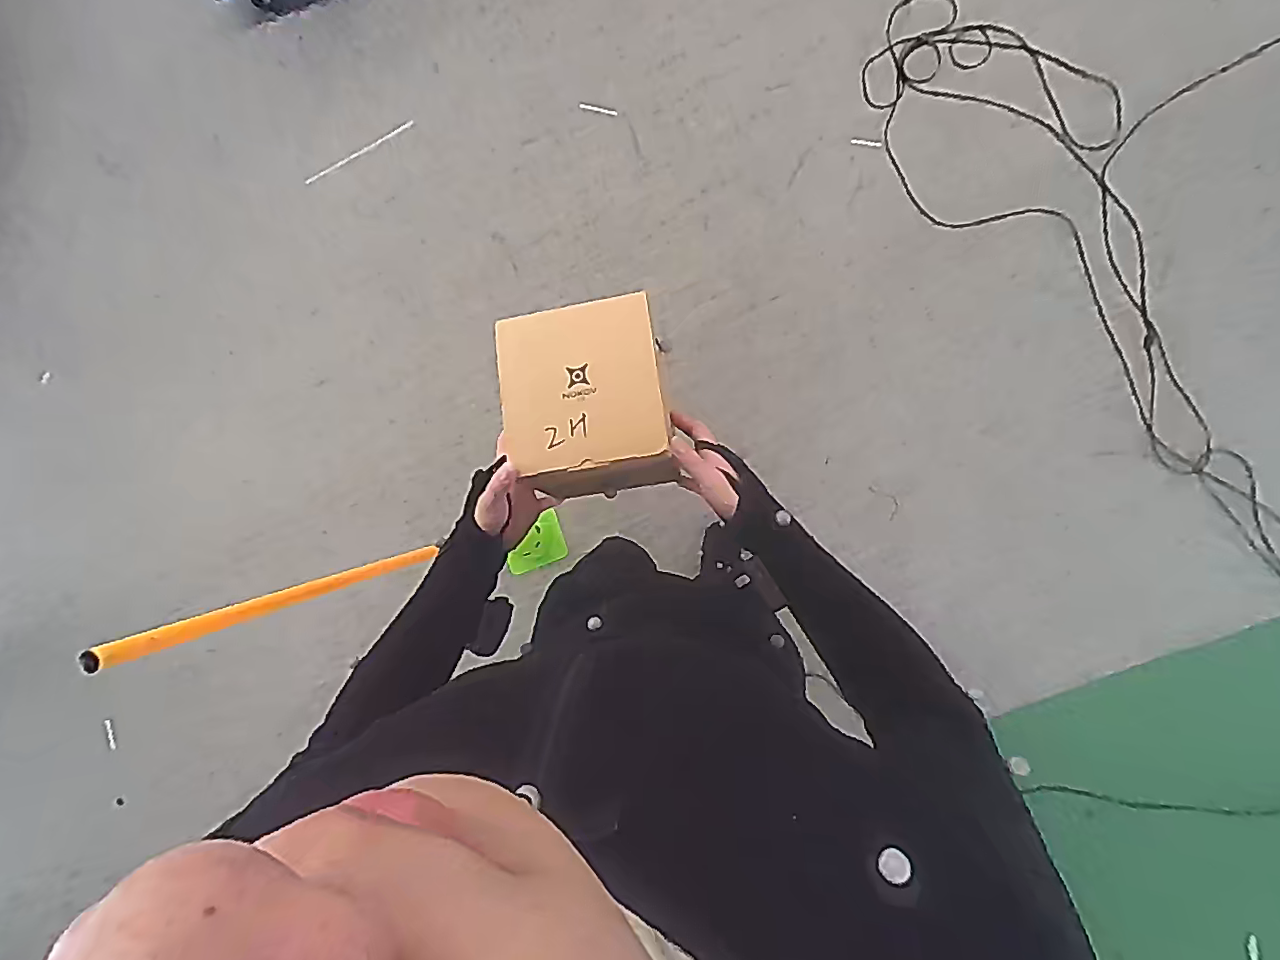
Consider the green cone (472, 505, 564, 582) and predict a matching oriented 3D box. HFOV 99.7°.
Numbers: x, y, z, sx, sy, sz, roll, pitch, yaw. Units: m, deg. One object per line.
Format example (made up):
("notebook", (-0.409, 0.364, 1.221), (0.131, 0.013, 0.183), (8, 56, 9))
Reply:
("green cone", (-0.378, 0.179, 1.517), (0.202, 0.368, 0.200), (-22, 81, 6))
